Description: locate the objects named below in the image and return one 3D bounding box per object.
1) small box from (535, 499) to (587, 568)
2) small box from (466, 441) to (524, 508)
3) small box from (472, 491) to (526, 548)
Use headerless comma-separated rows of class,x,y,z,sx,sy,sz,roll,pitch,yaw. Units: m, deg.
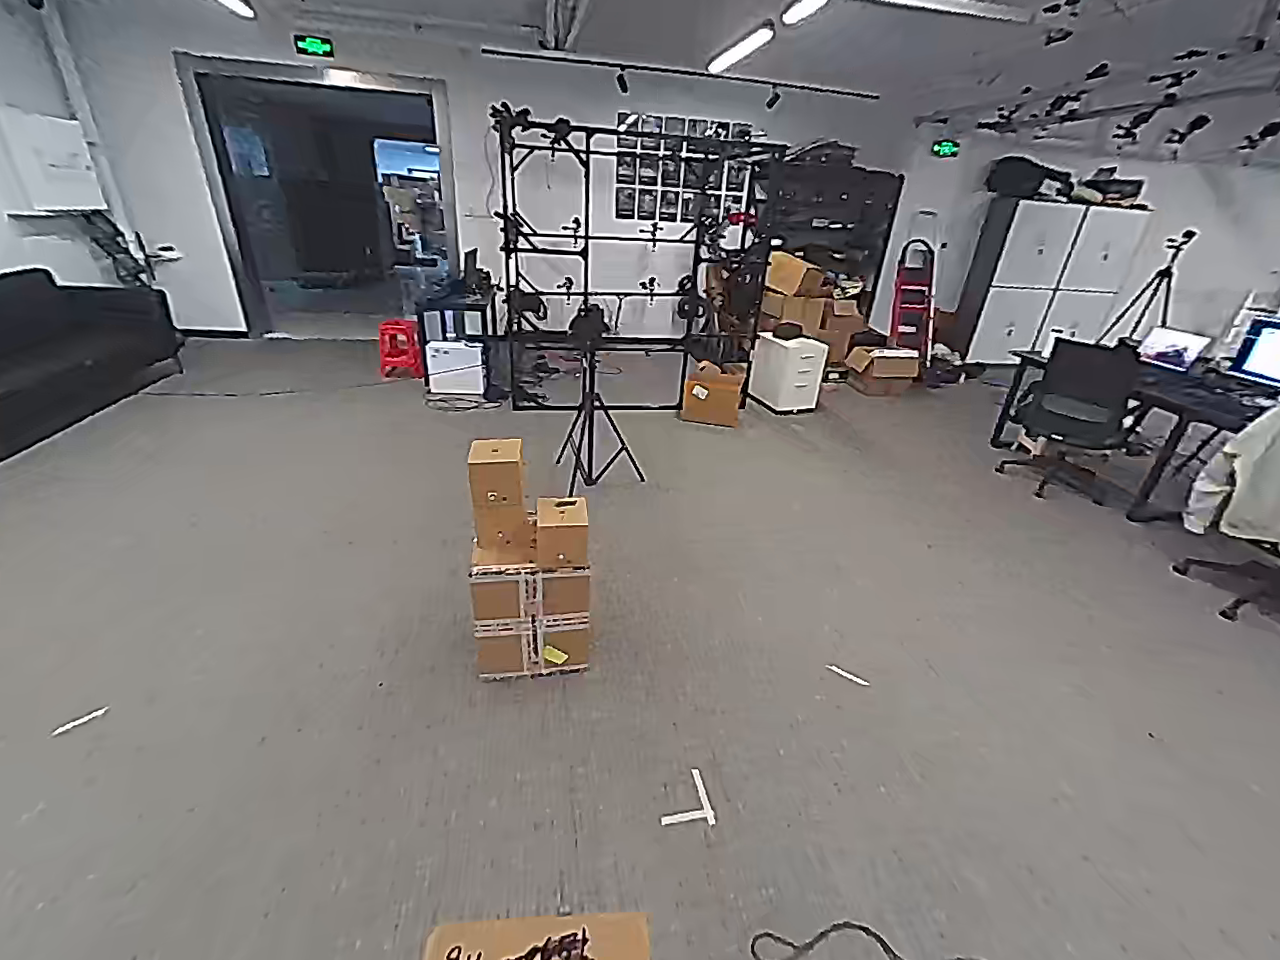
small box,-0.270,0.179,1.831,0.168,0.176,0.179,-1,30,-10
small box,-0.485,-0.020,1.829,0.168,0.176,0.179,-3,30,-9
small box,-0.494,0.123,1.907,0.168,0.176,0.179,-3,29,-9
